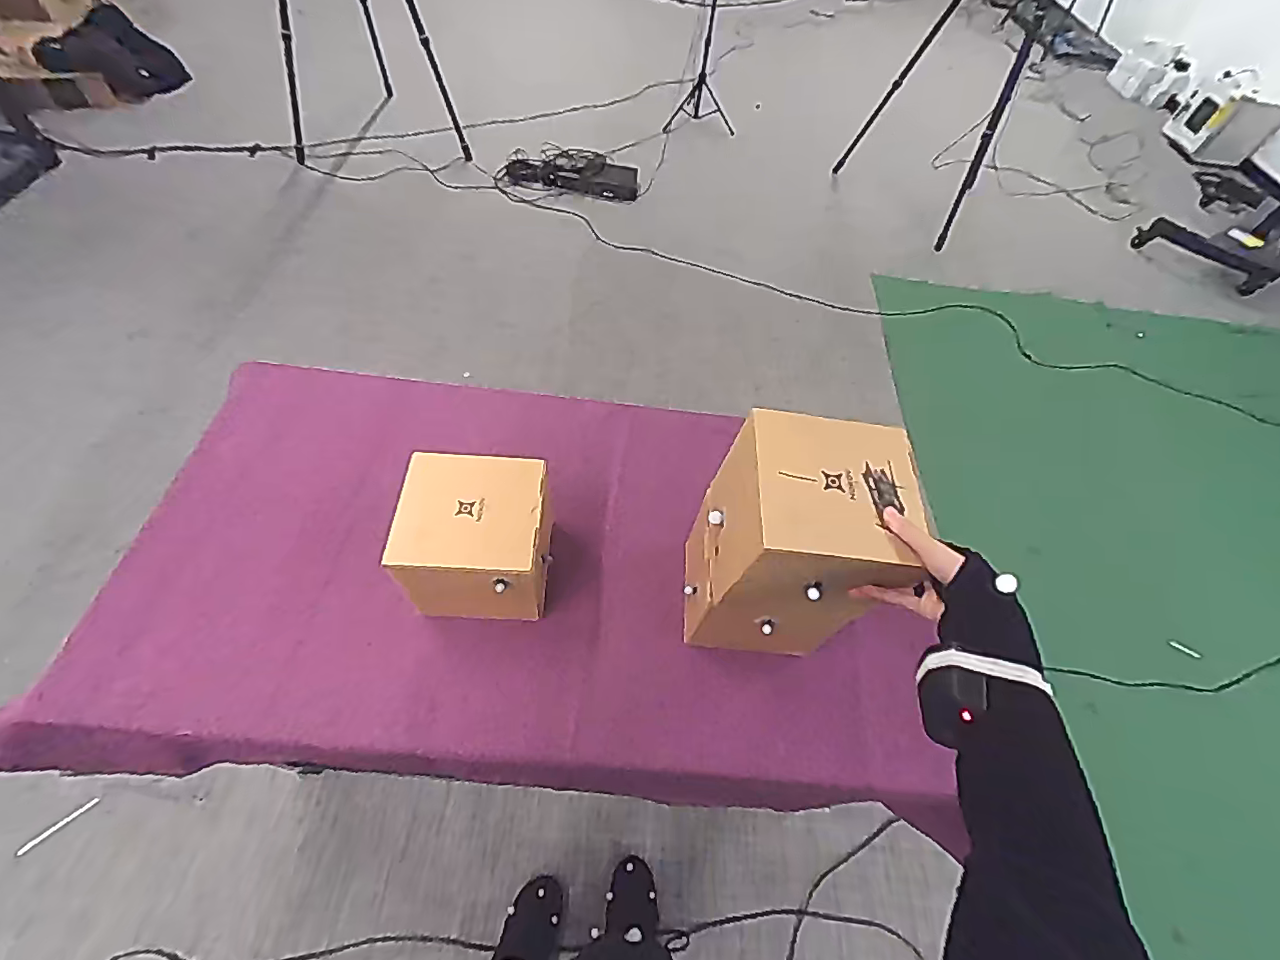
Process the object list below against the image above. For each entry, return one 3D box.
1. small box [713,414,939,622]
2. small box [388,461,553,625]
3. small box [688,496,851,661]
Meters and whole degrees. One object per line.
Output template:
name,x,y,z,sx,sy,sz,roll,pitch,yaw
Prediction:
small box,0.190,0.052,0.607,0.179,0.176,0.168,8,58,-5
small box,-0.216,0.091,0.744,0.179,0.176,0.168,3,55,-5
small box,0.165,0.142,0.751,0.179,0.176,0.168,7,56,-3
